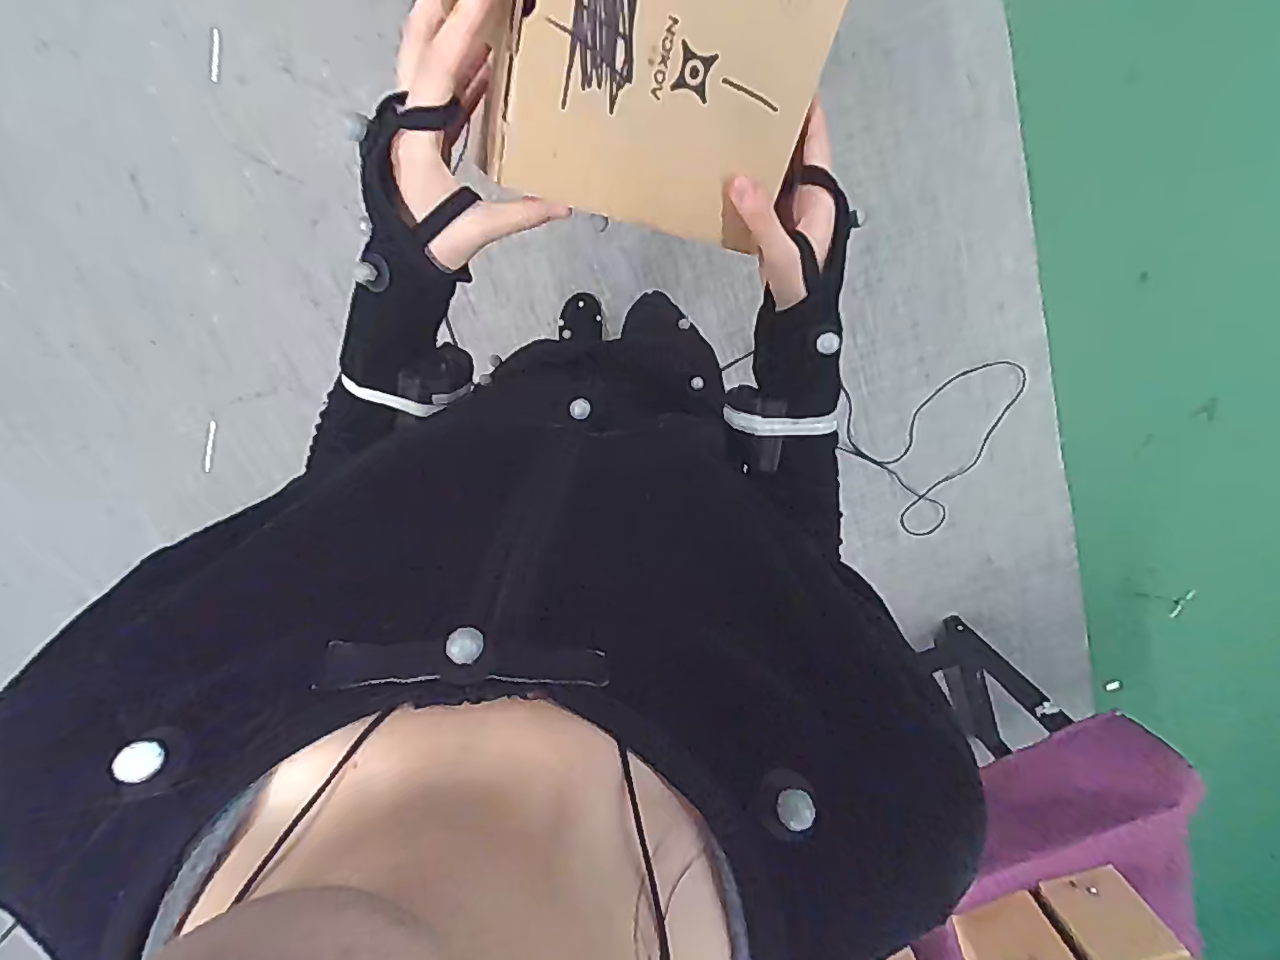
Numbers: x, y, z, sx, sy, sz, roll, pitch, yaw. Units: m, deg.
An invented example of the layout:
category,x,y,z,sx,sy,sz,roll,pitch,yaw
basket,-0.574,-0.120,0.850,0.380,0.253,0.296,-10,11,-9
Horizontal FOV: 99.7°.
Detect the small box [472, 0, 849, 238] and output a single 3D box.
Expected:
category,x,y,z,sx,sy,sz,roll,pitch,yaw
small box,-0.003,-0.274,0.342,0.179,0.176,0.168,2,123,-27
